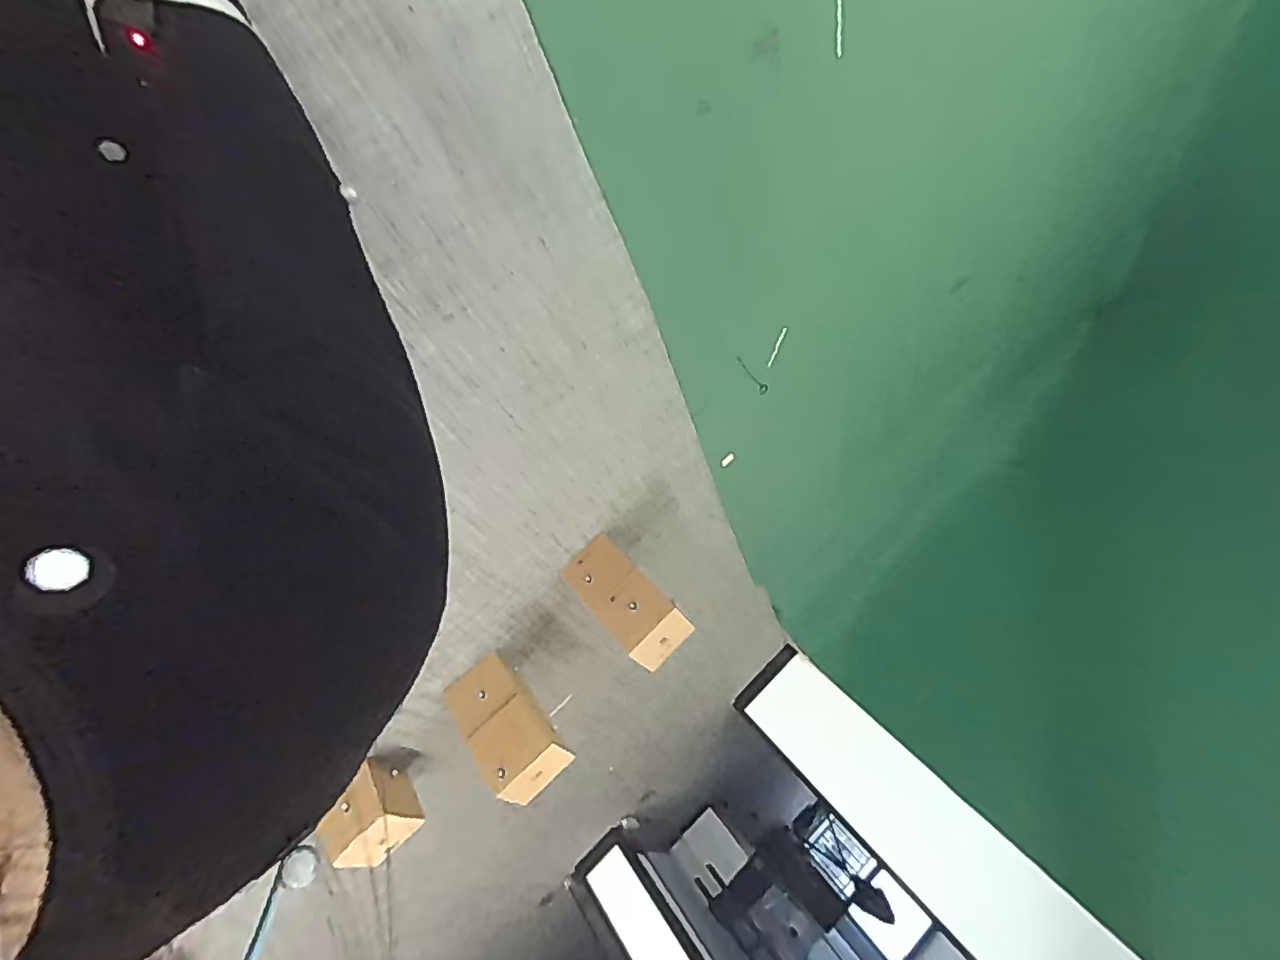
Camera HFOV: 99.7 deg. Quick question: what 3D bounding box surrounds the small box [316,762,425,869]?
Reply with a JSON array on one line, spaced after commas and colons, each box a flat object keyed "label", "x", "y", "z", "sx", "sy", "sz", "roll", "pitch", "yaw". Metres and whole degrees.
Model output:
[{"label": "small box", "x": -0.709, "y": 0.876, "z": 1.418, "sx": 0.168, "sy": 0.176, "sz": 0.179, "roll": -40, "pitch": 140, "yaw": -11}]

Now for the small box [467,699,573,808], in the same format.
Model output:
[{"label": "small box", "x": -0.309, "y": 0.699, "z": 1.392, "sx": 0.179, "sy": 0.176, "sz": 0.168, "roll": -40, "pitch": 141, "yaw": -12}]

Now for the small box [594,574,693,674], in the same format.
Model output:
[{"label": "small box", "x": 0.007, "y": 0.376, "z": 1.428, "sx": 0.168, "sy": 0.176, "sz": 0.179, "roll": -43, "pitch": 141, "yaw": -6}]

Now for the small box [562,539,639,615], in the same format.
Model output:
[{"label": "small box", "x": -0.091, "y": 0.294, "z": 1.532, "sx": 0.168, "sy": 0.176, "sz": 0.179, "roll": -42, "pitch": 142, "yaw": -8}]
